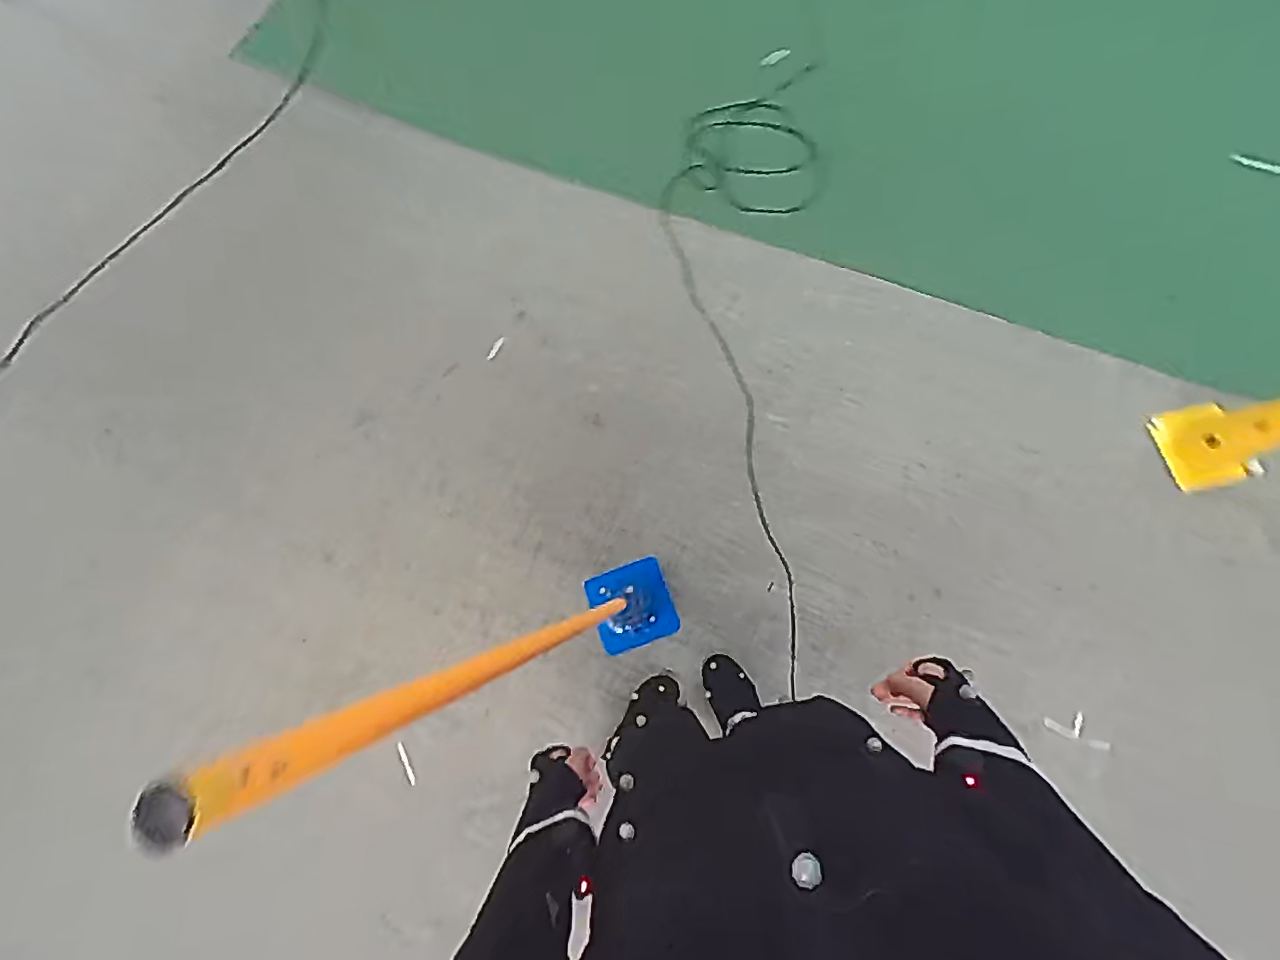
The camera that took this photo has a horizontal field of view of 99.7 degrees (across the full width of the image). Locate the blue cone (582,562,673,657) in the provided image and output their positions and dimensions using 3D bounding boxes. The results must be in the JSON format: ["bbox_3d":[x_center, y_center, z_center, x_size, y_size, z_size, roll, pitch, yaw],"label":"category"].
[{"bbox_3d":[-0.040,0.284,1.163,0.193,0.380,0.192,-23,77,-2],"label":"blue cone"}]
